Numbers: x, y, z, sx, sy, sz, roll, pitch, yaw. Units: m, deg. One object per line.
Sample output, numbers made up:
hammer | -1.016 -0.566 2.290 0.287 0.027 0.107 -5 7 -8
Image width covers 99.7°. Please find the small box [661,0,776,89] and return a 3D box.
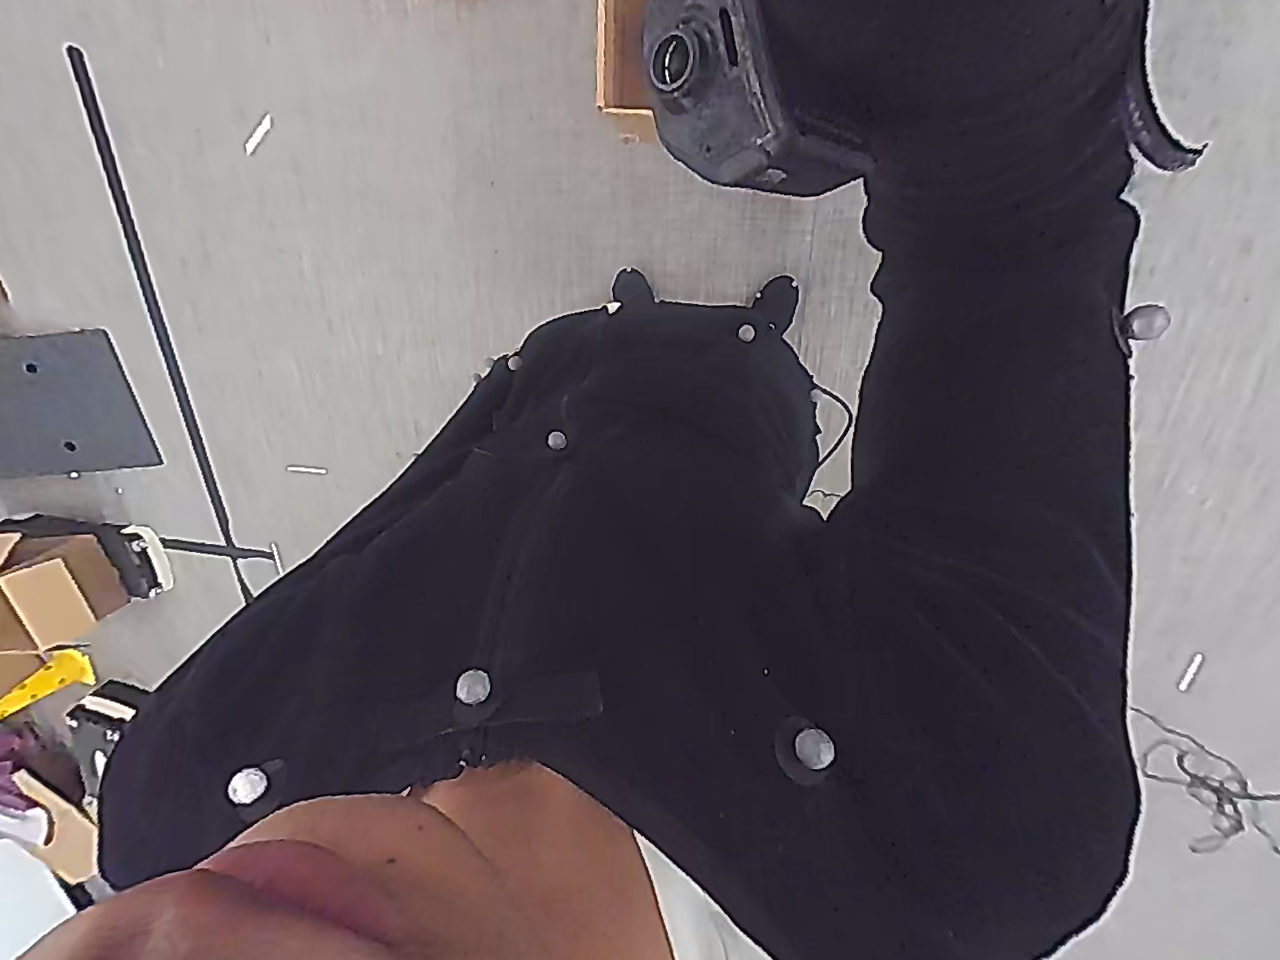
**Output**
small box | 0.122 -0.735 0.829 0.168 0.176 0.179 1 112 10
